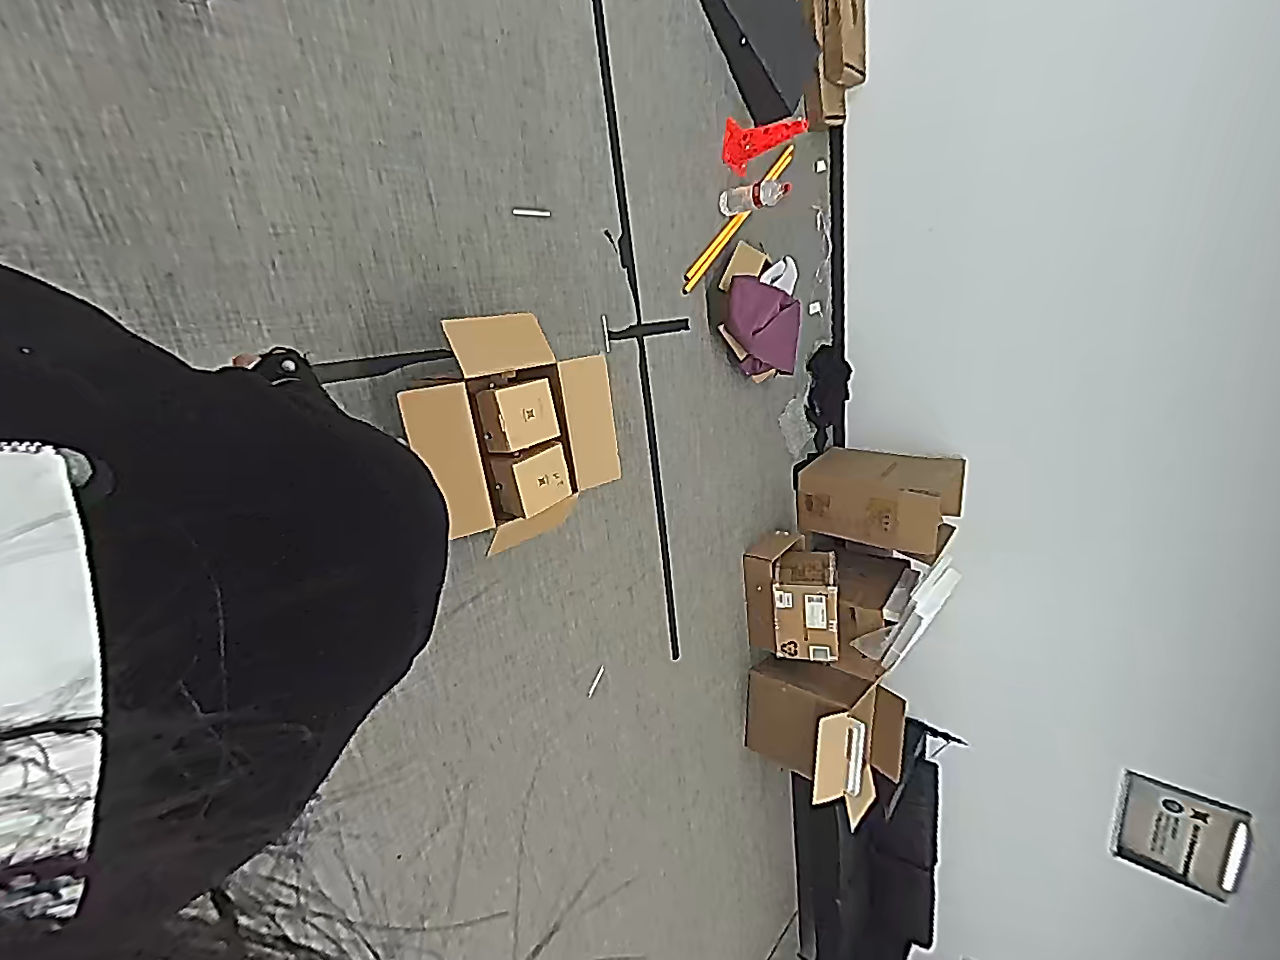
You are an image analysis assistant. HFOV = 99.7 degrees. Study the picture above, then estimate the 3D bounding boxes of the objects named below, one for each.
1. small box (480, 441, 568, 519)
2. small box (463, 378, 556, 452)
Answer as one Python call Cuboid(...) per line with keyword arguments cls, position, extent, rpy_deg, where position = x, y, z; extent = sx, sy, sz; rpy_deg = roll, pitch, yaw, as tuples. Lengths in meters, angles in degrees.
Cuboid(cls="small box", position=(-0.337, -0.011, 1.549), extent=(0.179, 0.176, 0.168), rpy_deg=(-32, 123, -41))
Cuboid(cls="small box", position=(-0.365, -0.178, 1.489), extent=(0.179, 0.176, 0.168), rpy_deg=(-28, 114, -44))
